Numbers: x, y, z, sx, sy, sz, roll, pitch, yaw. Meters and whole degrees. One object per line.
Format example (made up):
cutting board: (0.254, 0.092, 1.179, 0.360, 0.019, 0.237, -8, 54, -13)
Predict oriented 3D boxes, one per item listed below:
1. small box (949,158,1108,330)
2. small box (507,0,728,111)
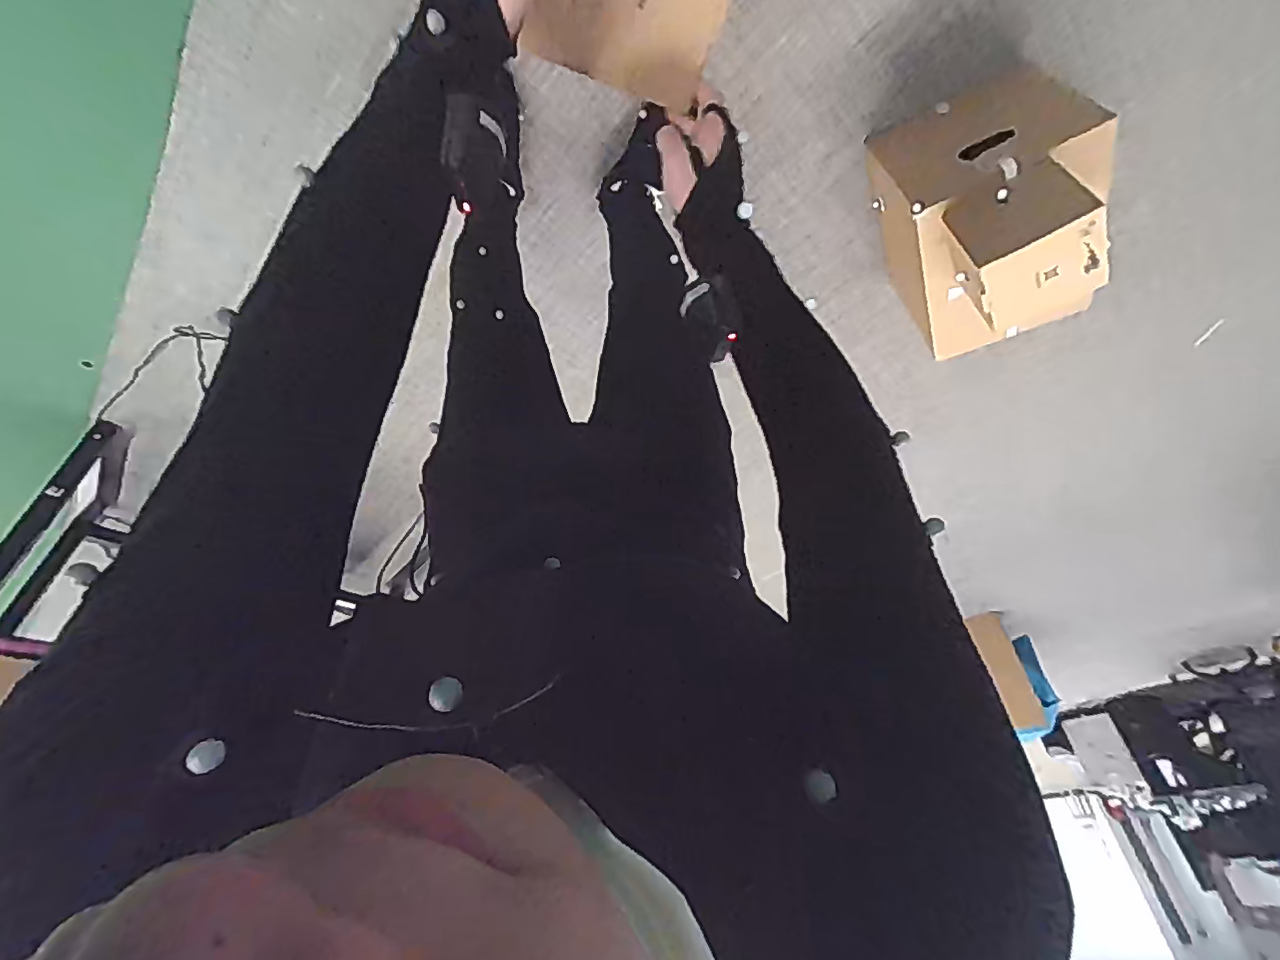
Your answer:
small box: (0.657, -0.402, 0.929, 0.179, 0.176, 0.168, -24, 138, 27)
small box: (-0.012, -0.493, 0.500, 0.179, 0.176, 0.168, 13, 138, -20)
